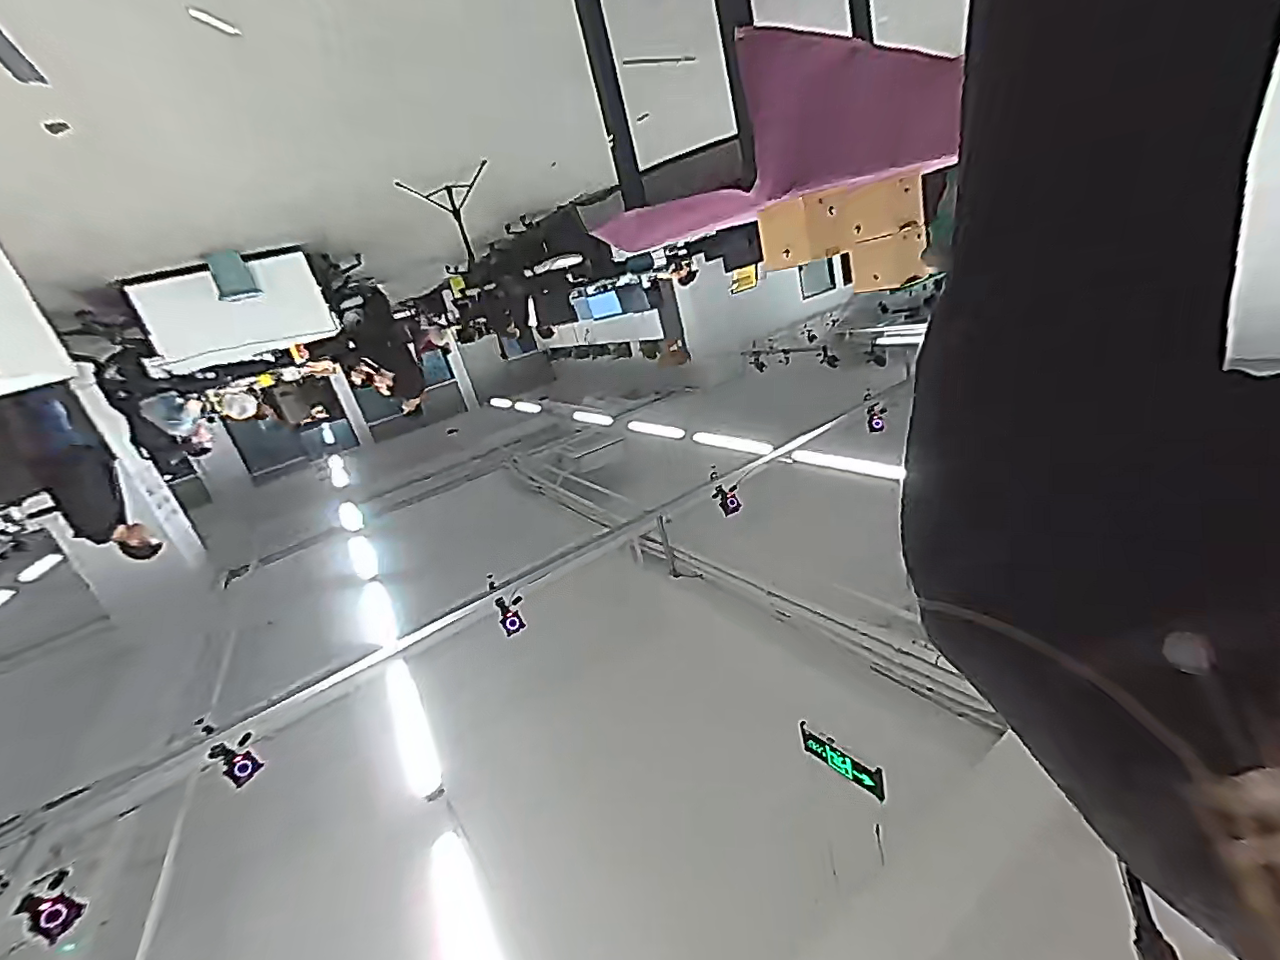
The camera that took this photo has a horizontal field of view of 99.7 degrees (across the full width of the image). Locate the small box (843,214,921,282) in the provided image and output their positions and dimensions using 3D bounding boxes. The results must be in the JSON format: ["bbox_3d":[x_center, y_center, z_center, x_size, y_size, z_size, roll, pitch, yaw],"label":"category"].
[{"bbox_3d":[0.813,-0.787,1.825,0.168,0.176,0.179,-25,-157,-21],"label":"small box"}]

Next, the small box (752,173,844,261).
[{"bbox_3d":[0.422,-0.710,1.465,0.168,0.176,0.179,-26,-157,-23],"label":"small box"}]

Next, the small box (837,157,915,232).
[{"bbox_3d":[0.767,-0.933,1.765,0.168,0.176,0.179,-27,-157,-25],"label":"small box"}]
